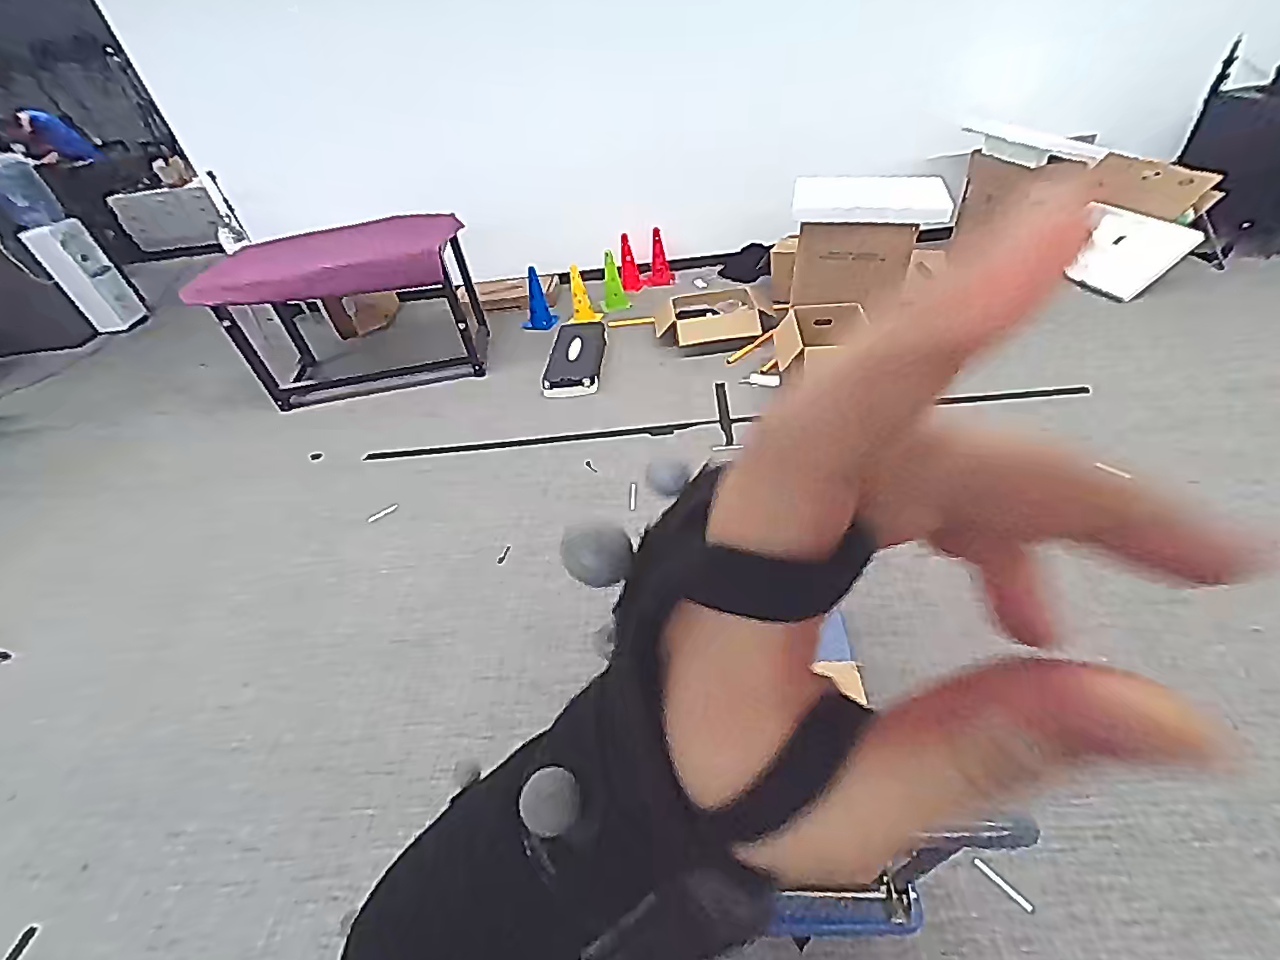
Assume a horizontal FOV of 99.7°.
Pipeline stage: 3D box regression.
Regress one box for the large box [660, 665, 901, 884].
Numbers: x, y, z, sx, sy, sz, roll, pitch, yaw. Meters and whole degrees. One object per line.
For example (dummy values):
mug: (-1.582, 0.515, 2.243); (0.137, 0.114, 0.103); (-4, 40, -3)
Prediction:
large box: (0.249, 0.604, 1.108); (0.408, 0.320, 0.320); (-3, 42, 5)
